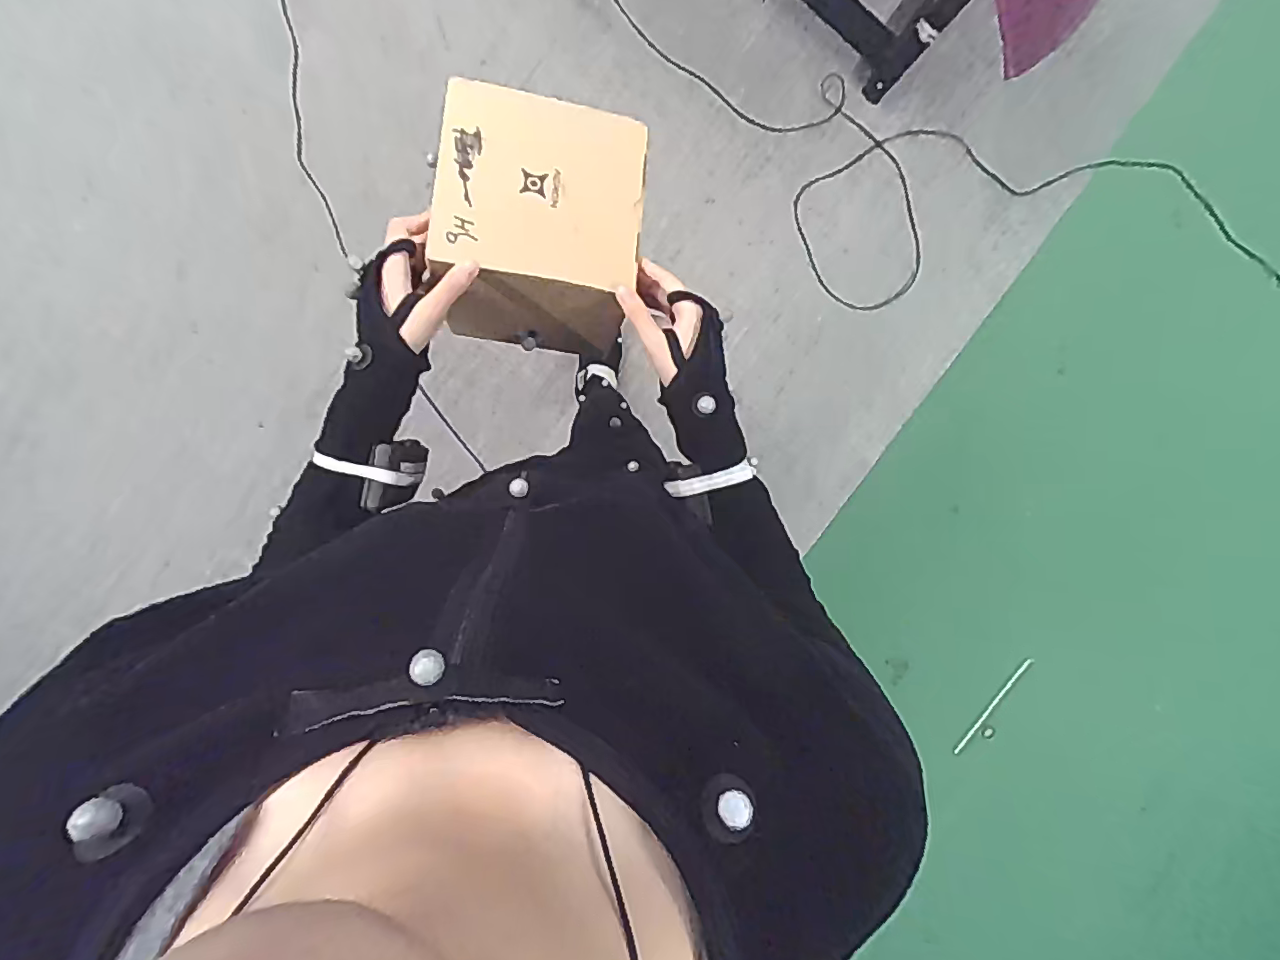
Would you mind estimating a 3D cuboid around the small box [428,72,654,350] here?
[{"bbox_3d":[-0.098,-0.242,0.537,0.179,0.176,0.168,7,82,-13],"label":"small box"}]
